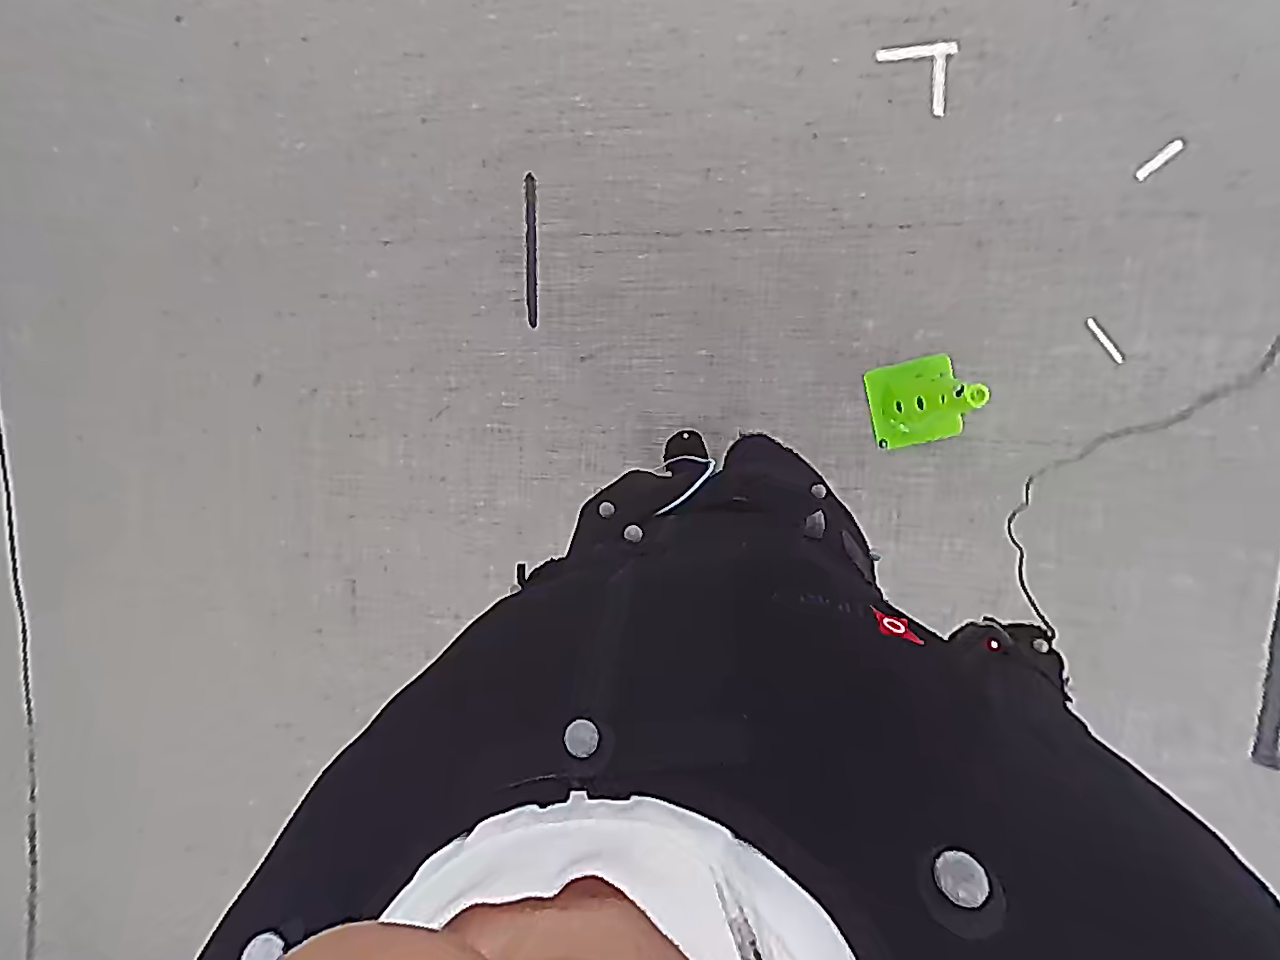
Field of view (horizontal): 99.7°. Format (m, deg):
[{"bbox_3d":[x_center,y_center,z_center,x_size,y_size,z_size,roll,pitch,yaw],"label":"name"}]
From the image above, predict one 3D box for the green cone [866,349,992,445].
[{"bbox_3d":[0.640,-0.185,1.138,0.200,0.368,0.202,-14,92,10],"label":"green cone"}]
